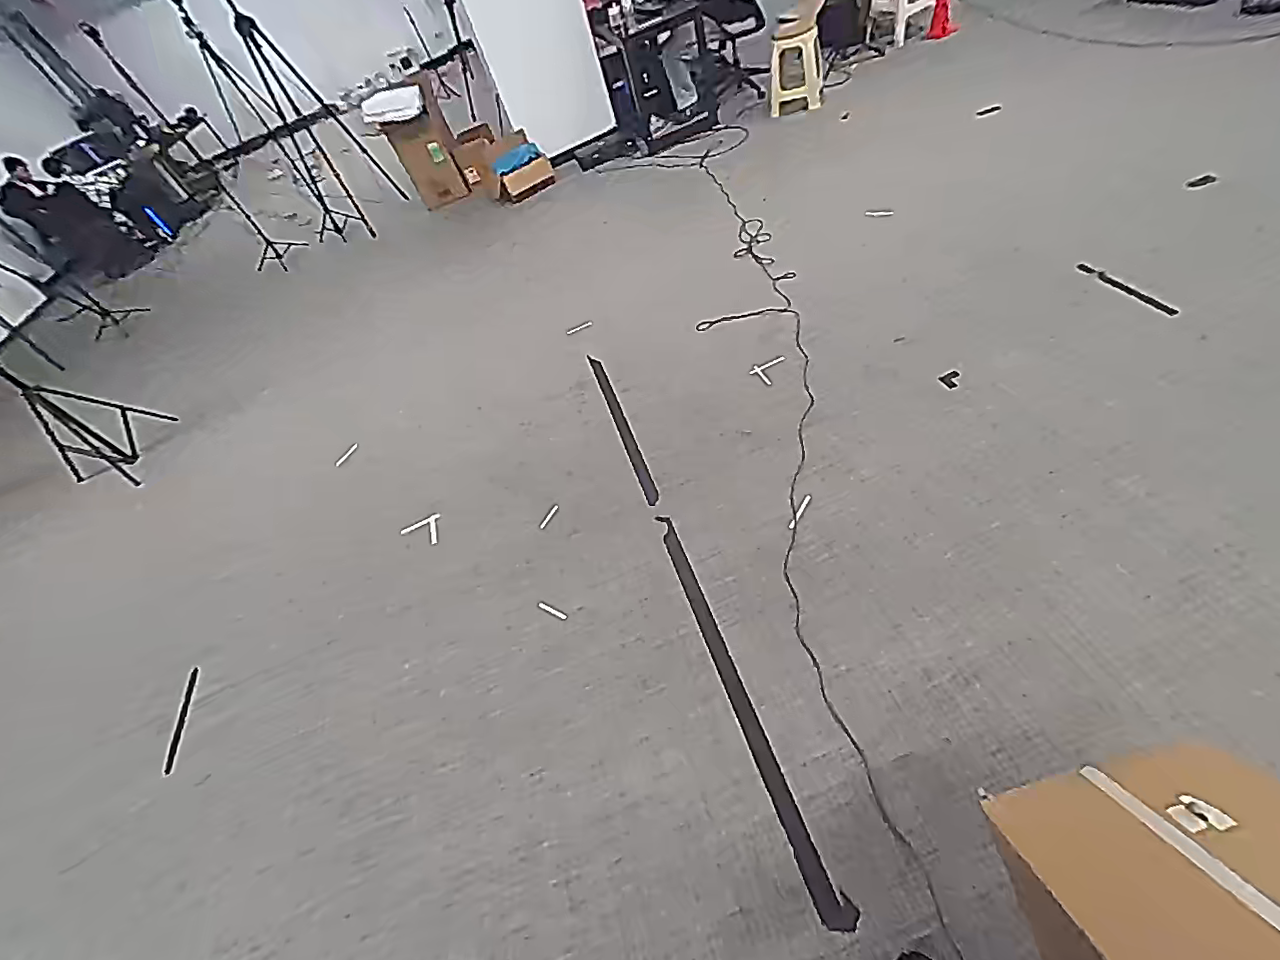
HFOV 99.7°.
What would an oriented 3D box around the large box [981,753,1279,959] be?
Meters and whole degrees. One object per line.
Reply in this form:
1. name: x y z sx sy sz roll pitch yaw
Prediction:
1. large box: 0.676 0.579 0.583 0.320 0.408 0.320 -20 87 7
